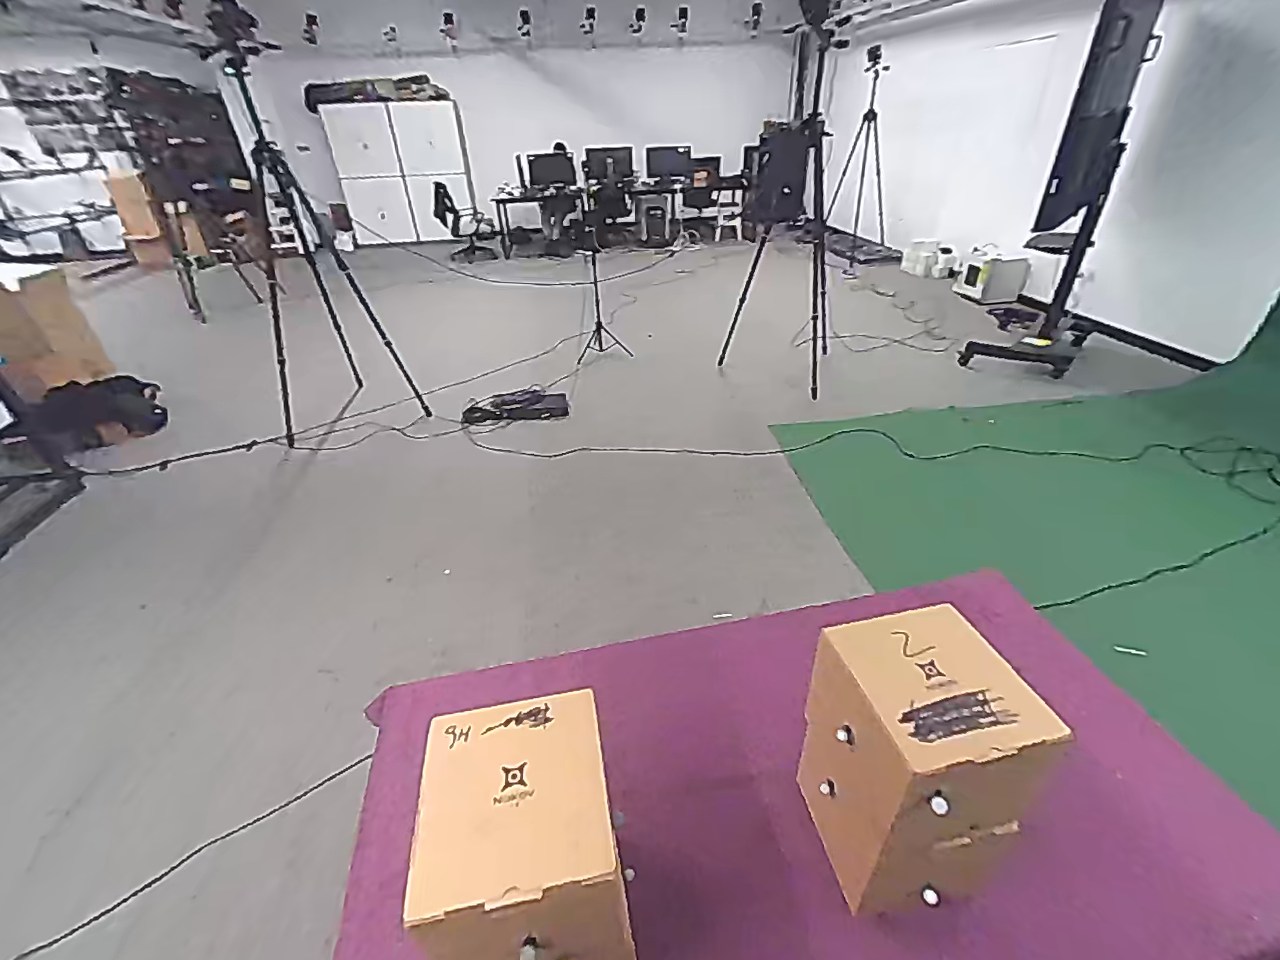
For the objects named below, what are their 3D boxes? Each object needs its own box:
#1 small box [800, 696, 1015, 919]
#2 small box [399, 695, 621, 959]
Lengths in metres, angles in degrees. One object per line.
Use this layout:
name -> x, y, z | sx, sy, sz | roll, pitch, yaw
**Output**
small box -> 0.319, 0.412, 0.691 | 0.168, 0.176, 0.179 | -8, 34, -6
small box -> -0.113, 0.347, 0.526 | 0.168, 0.176, 0.179 | -7, 34, -8
